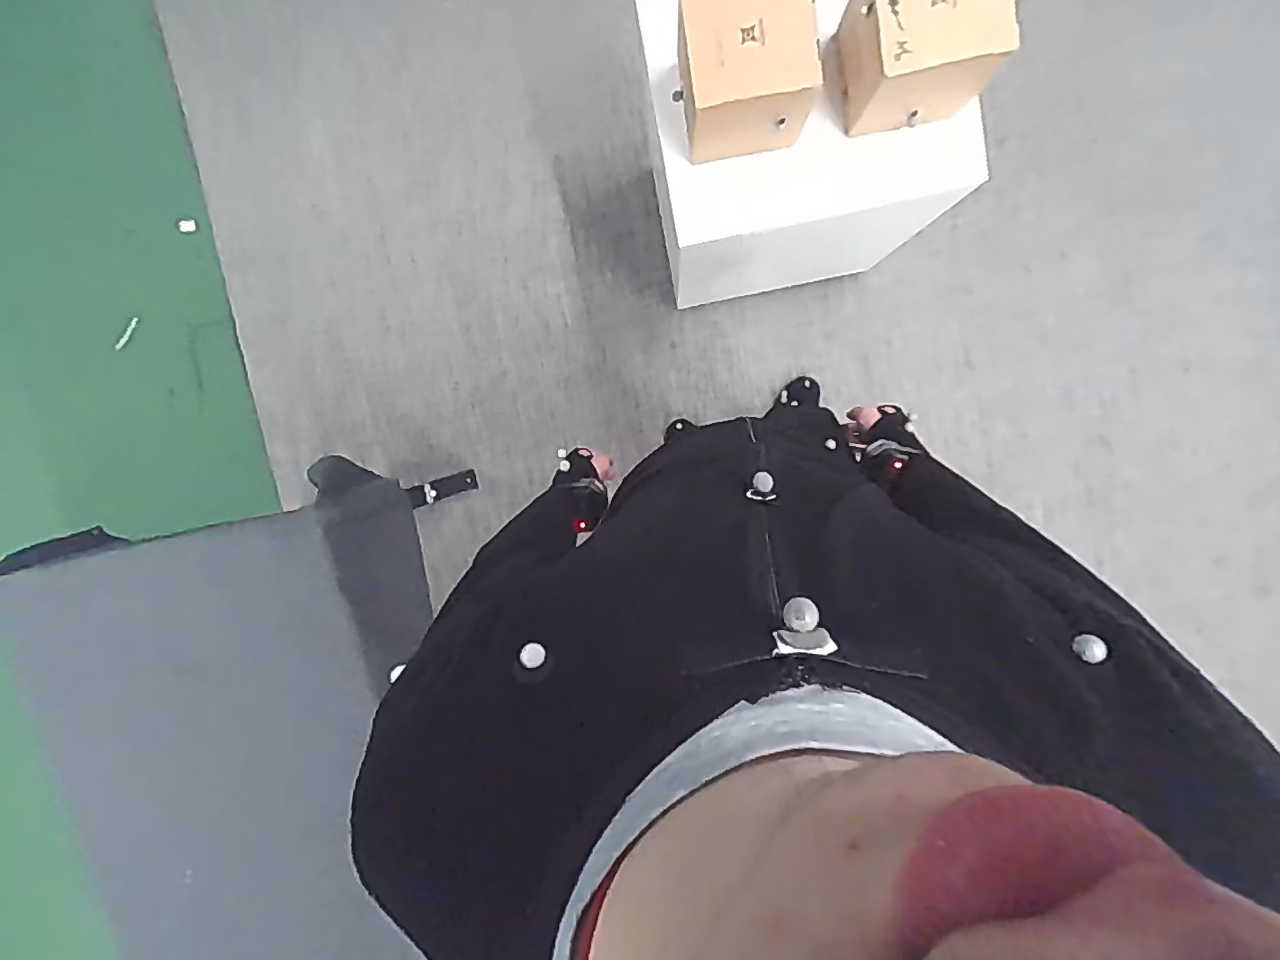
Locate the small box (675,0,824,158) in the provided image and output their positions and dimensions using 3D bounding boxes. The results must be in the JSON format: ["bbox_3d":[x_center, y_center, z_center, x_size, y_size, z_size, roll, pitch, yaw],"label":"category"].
[{"bbox_3d":[0.150,-0.605,0.790,0.179,0.176,0.168,-9,96,4],"label":"small box"}]

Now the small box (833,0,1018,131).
[{"bbox_3d":[0.397,-0.637,0.774,0.179,0.176,0.168,-9,97,3],"label":"small box"}]
